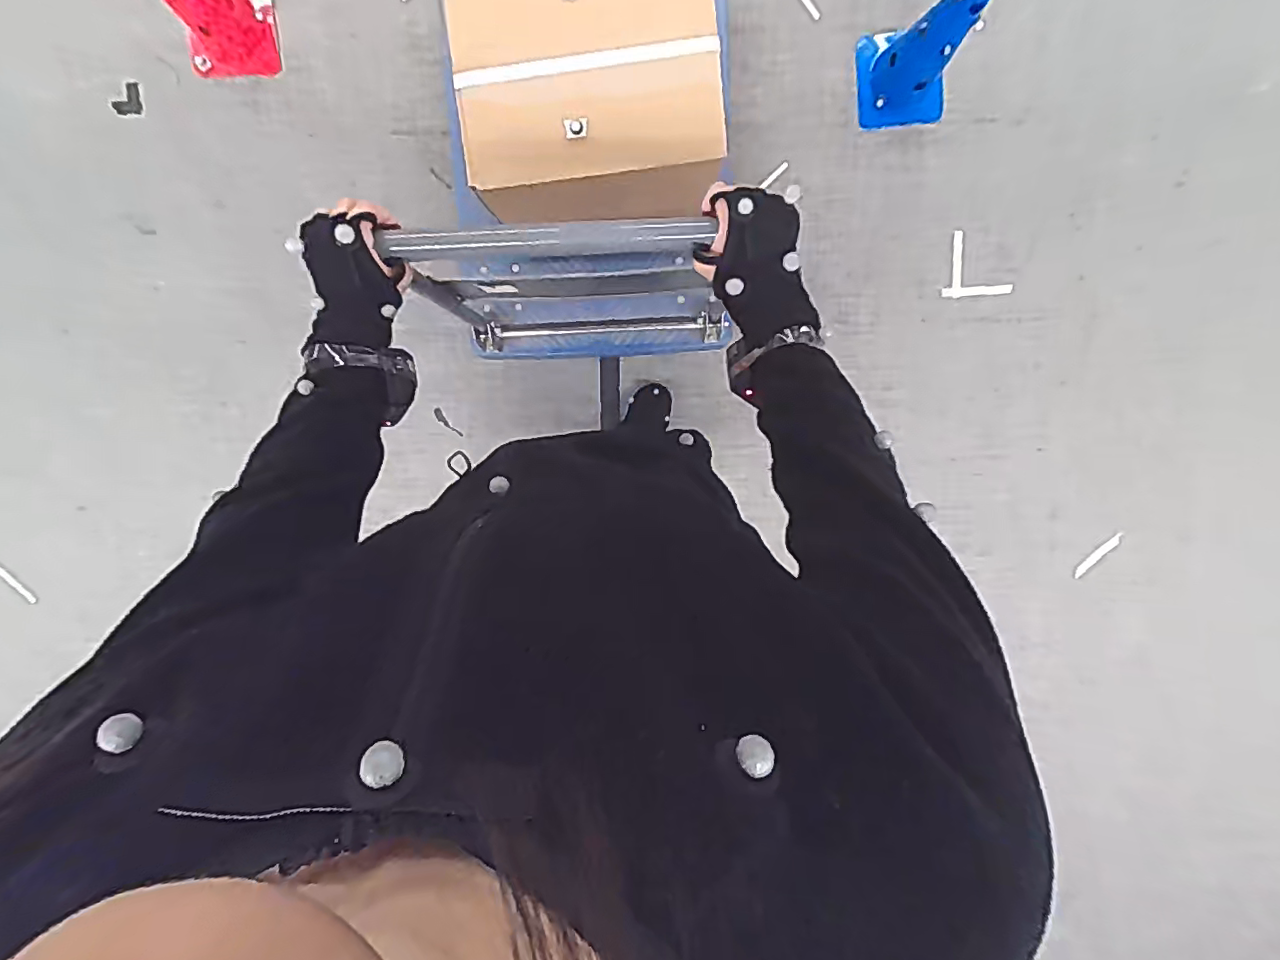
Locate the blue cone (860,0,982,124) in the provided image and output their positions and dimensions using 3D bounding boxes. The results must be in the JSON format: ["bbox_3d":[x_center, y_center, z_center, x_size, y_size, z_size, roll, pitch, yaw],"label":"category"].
[{"bbox_3d":[0.615,-0.919,1.107,0.193,0.380,0.192,-5,98,0],"label":"blue cone"}]
